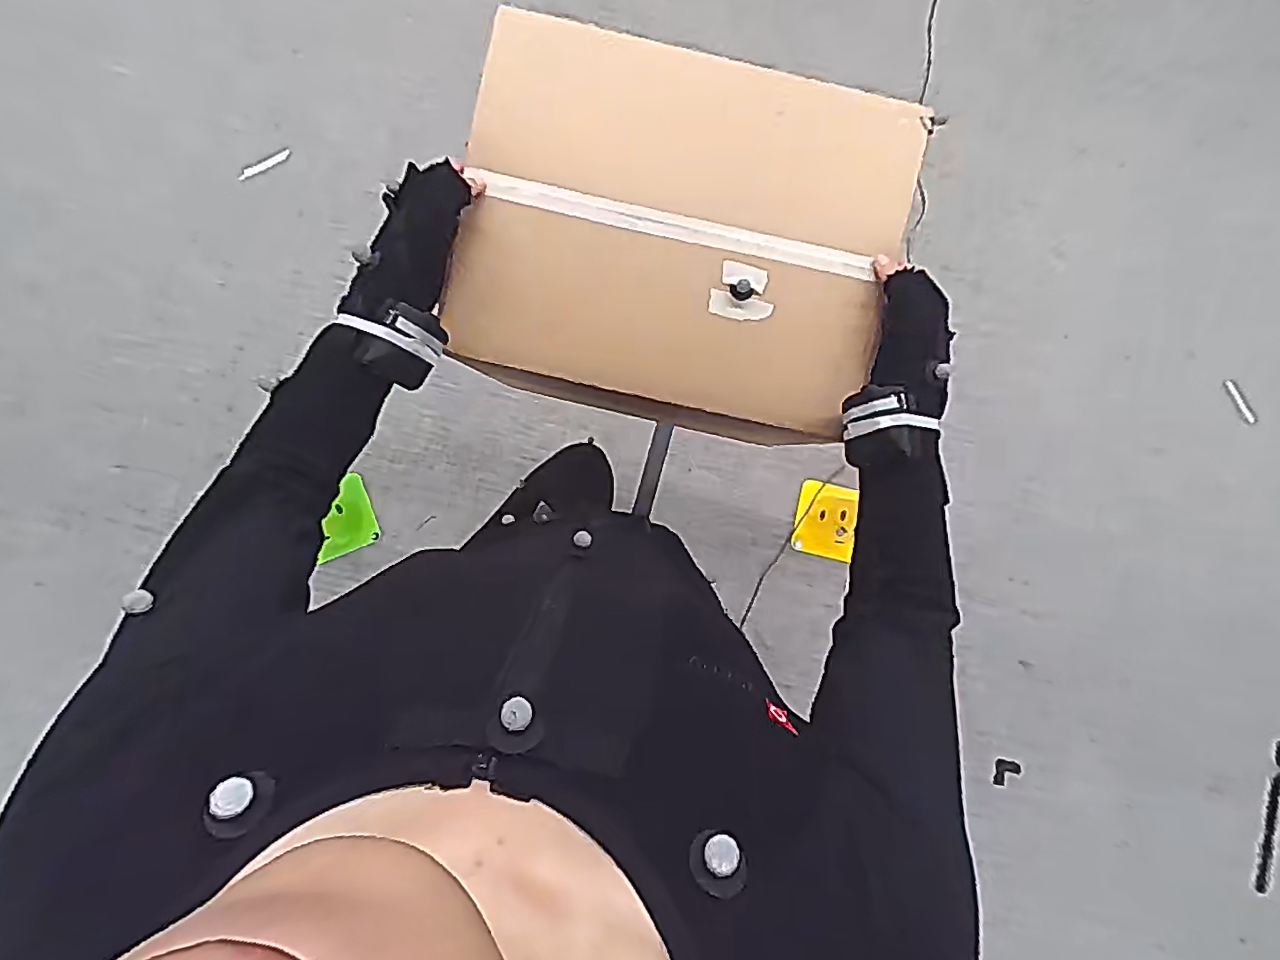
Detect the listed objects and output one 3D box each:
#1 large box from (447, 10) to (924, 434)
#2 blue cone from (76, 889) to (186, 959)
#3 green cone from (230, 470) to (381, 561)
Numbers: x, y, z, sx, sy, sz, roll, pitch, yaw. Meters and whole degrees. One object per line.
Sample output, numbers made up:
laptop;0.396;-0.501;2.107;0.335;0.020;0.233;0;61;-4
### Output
large box;0.037;-0.248;0.650;0.408;0.320;0.320;12;93;-2
blue cone;-1.242;1.122;1.188;0.192;0.380;0.193;17;84;1
green cone;-0.817;0.077;1.286;0.202;0.368;0.200;-23;85;-2
